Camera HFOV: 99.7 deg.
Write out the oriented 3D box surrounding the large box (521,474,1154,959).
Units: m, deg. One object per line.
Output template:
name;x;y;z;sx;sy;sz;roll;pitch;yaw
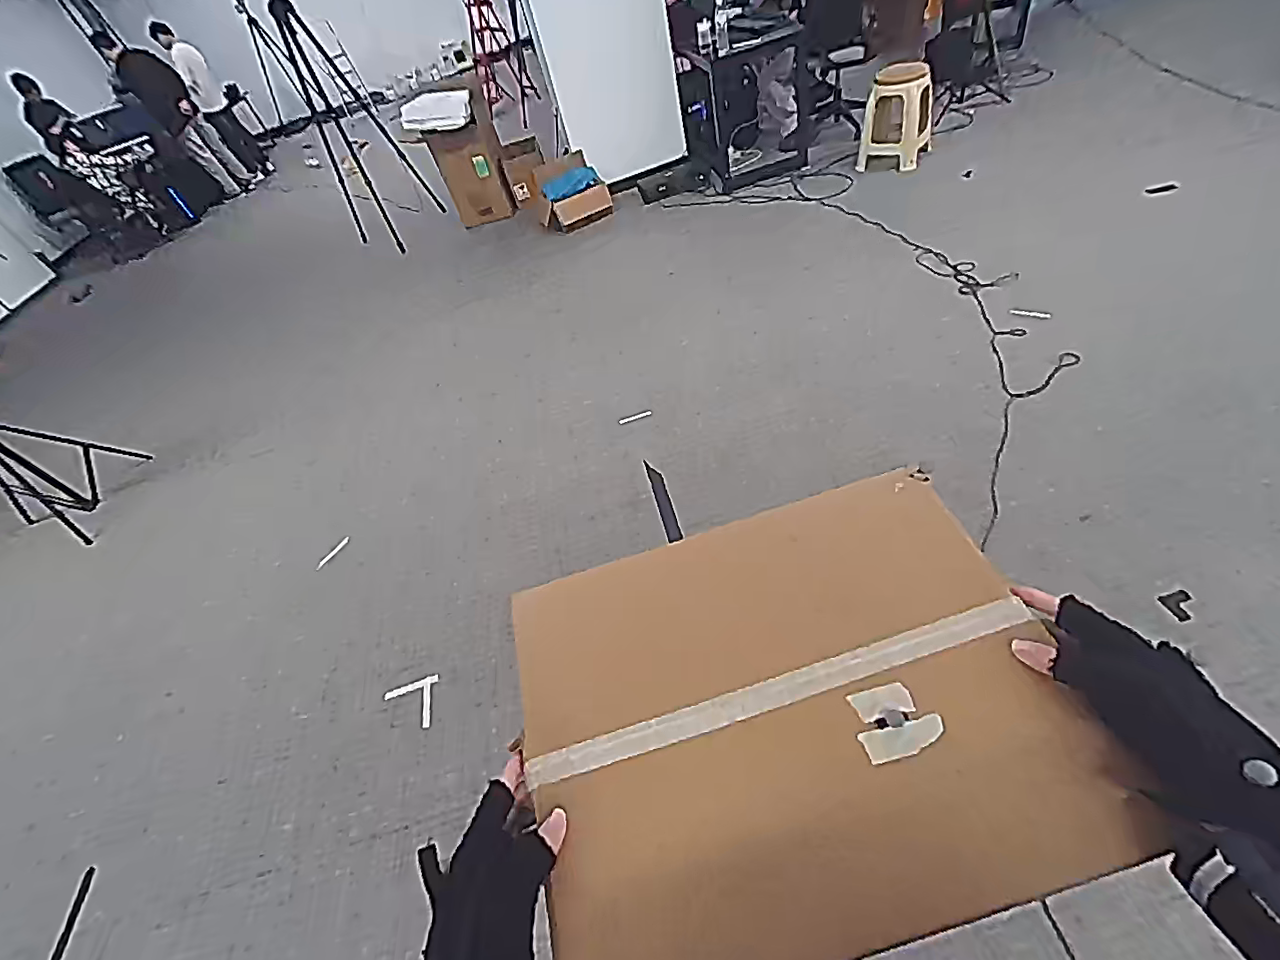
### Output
large box;0.136;0.258;0.553;0.408;0.320;0.320;-18;52;-1
